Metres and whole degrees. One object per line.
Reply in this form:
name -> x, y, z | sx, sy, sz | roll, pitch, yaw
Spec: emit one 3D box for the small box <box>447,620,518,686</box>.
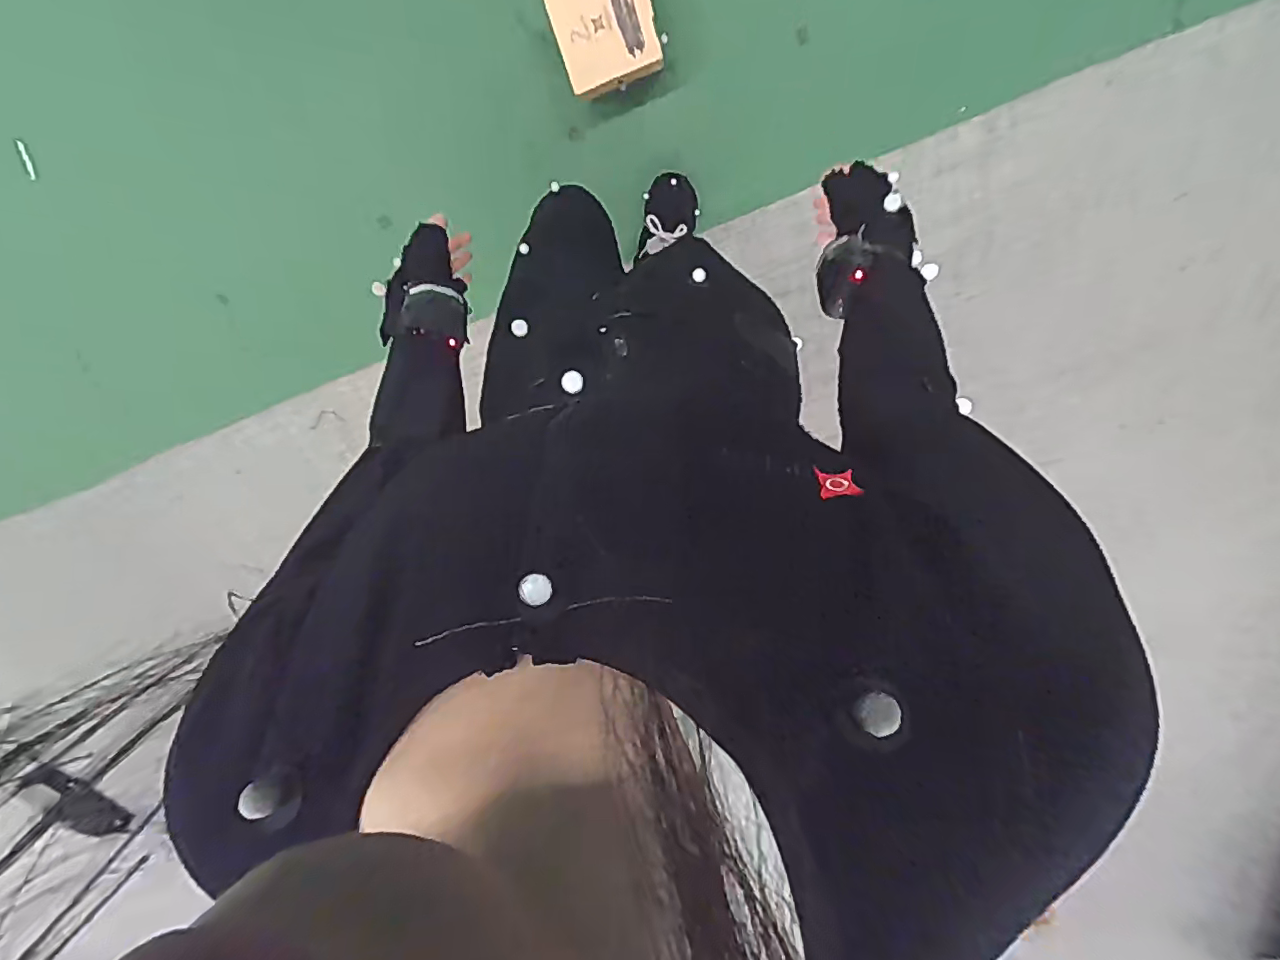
small box -> -0.556, 0.631, 1.935 | 0.179, 0.176, 0.168 | -22, 119, 15
